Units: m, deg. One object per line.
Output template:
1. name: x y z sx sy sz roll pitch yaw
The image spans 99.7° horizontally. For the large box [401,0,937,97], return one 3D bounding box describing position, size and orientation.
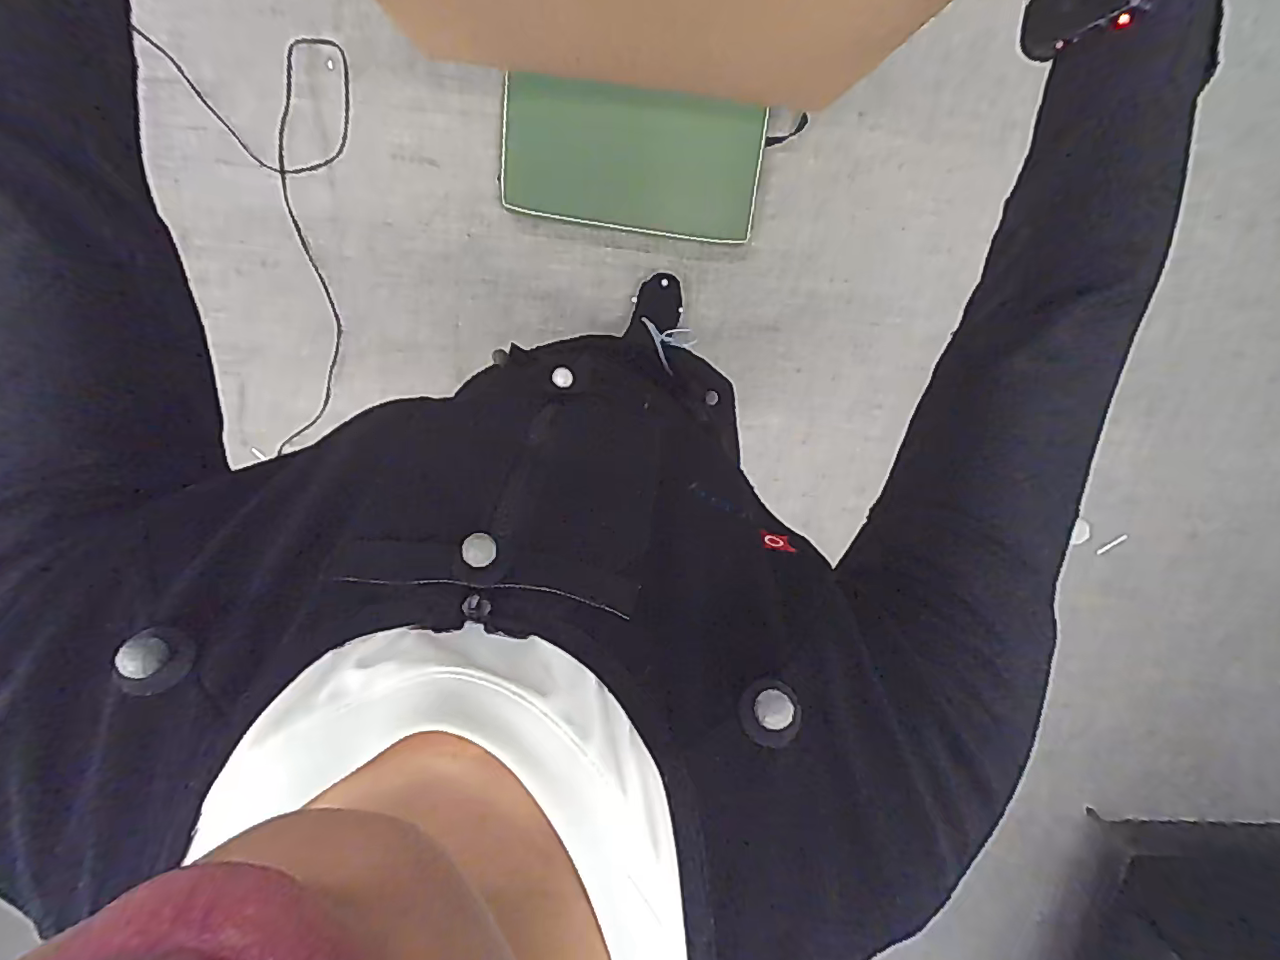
1. large box: 0.019 -0.492 0.345 0.408 0.320 0.320 4 110 -5
